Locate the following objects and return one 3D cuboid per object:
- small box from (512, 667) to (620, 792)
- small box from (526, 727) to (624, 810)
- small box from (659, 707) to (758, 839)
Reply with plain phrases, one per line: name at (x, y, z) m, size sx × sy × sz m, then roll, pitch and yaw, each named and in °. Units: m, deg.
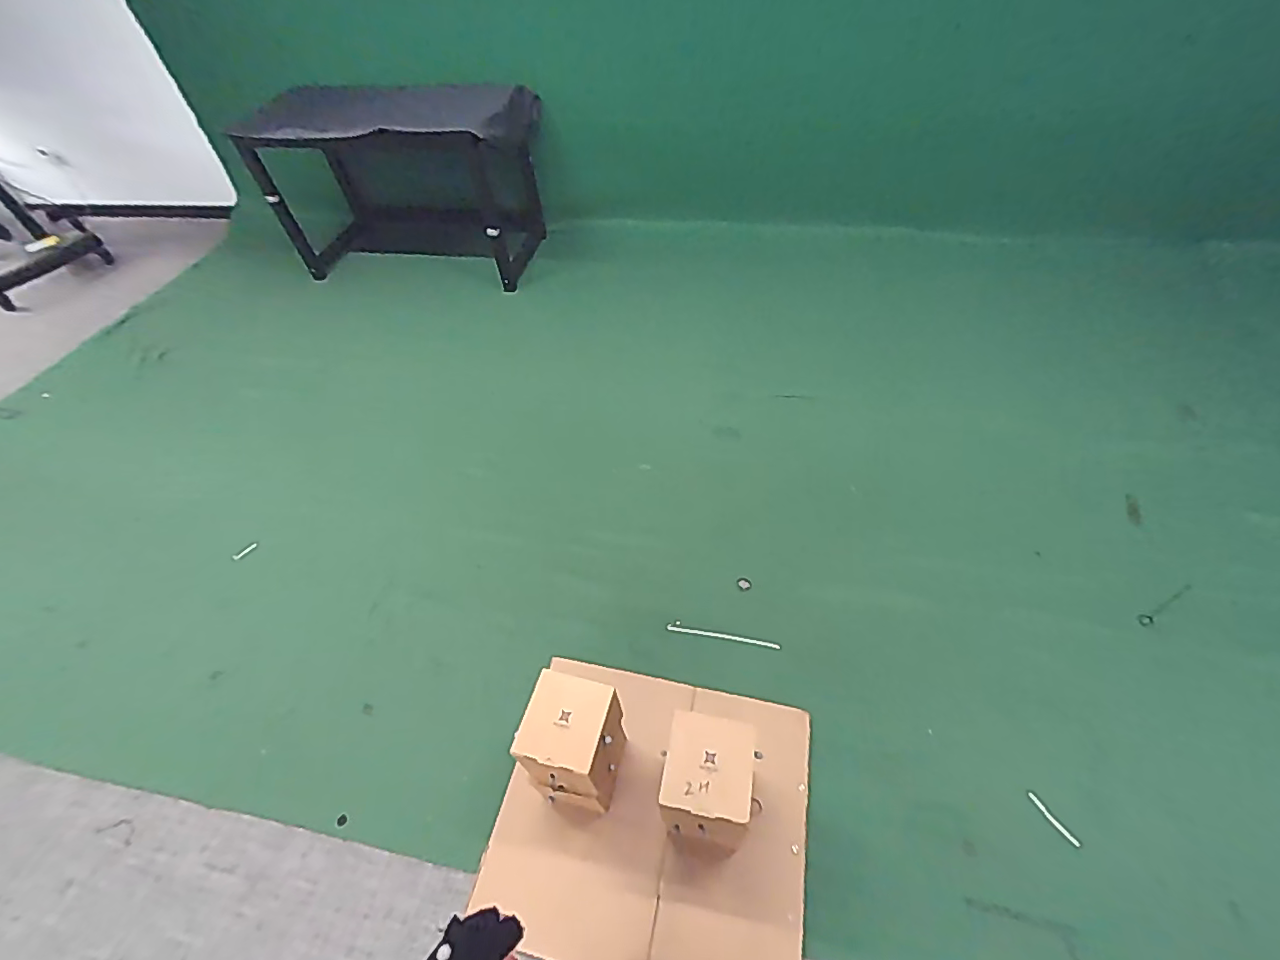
small box at (-0.145, 0.529, 1.144) m, size 0.168 × 0.176 × 0.179 m, roll 10°, pitch 51°, yaw 13°
small box at (-0.142, 0.643, 1.261) m, size 0.168 × 0.176 × 0.179 m, roll 9°, pitch 50°, yaw 13°
small box at (0.135, 0.582, 1.072) m, size 0.168 × 0.176 × 0.179 m, roll 7°, pitch 50°, yaw 12°
